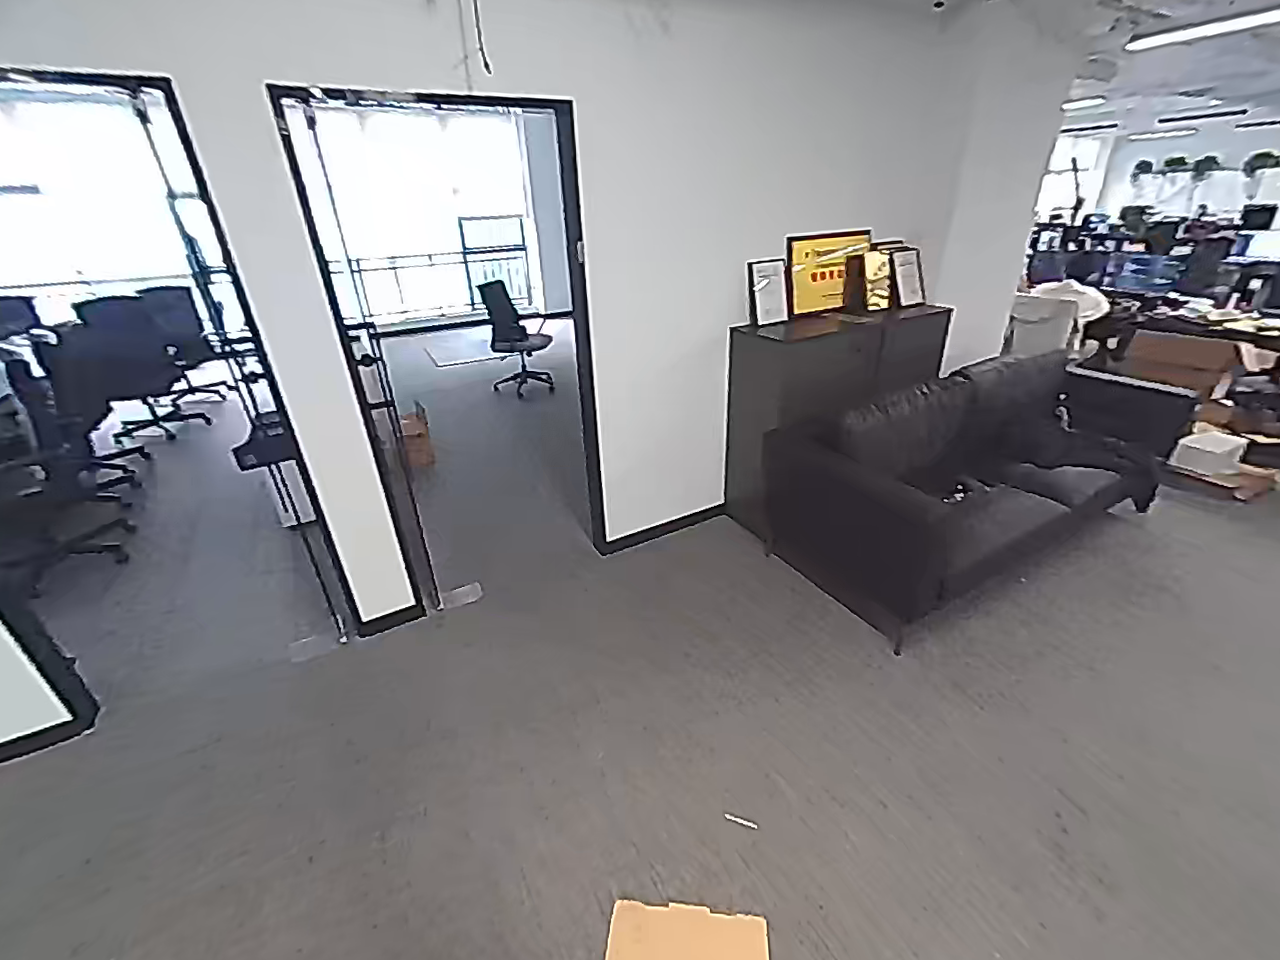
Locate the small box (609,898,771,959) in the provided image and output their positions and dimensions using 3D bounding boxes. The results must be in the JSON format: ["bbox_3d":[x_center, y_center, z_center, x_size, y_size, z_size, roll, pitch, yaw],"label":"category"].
[{"bbox_3d":[0.044,0.572,0.541,0.168,0.176,0.179,3,25,6],"label":"small box"}]
